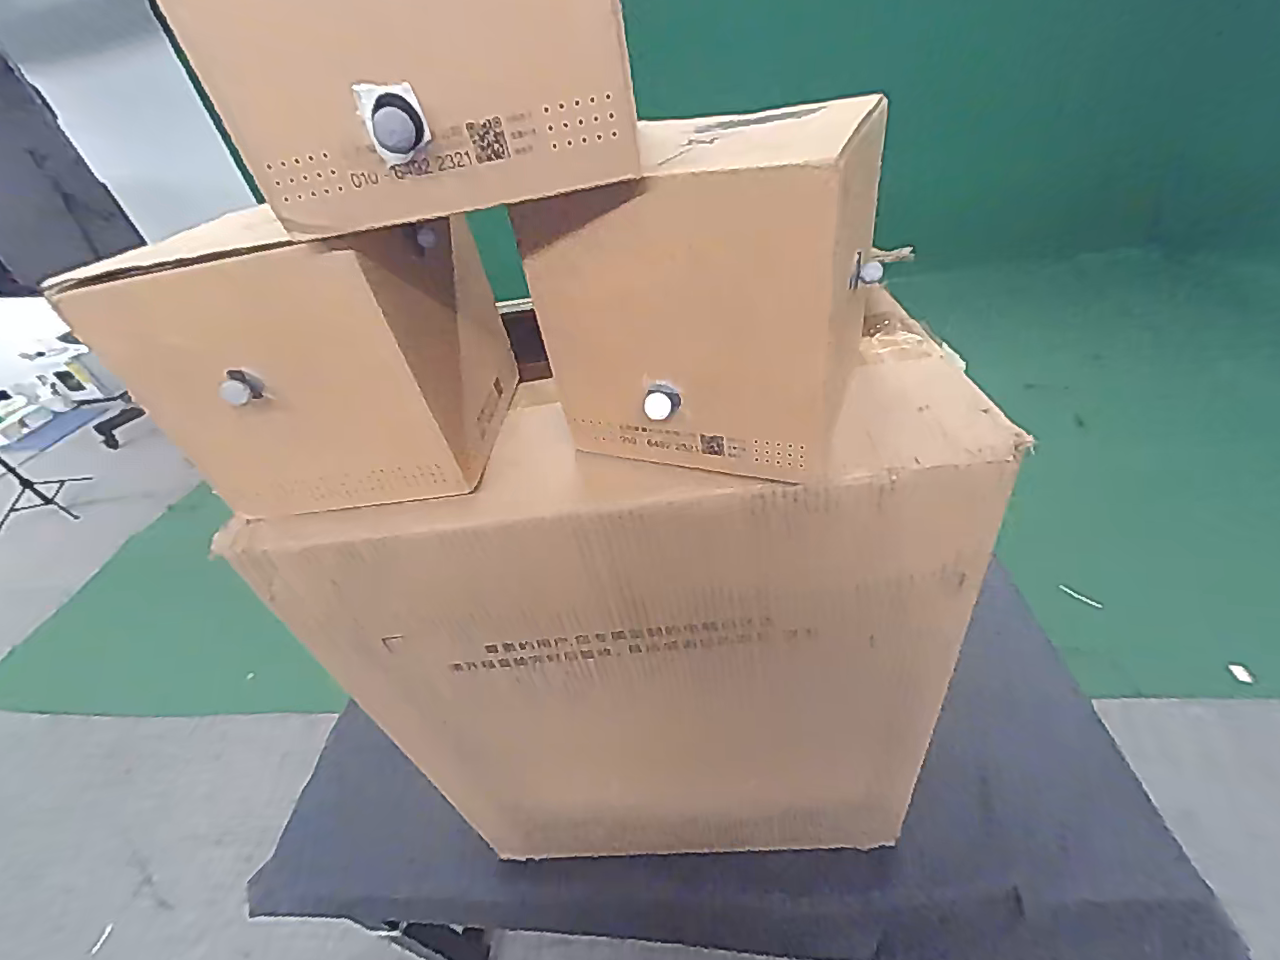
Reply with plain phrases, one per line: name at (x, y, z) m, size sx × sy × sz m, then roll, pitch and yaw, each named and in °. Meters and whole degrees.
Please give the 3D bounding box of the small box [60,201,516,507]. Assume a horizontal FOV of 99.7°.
small box at (-0.210, -0.096, 0.387) m, size 0.179 × 0.176 × 0.168 m, roll -7°, pitch 40°, yaw 8°

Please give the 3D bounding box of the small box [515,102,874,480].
small box at (0.046, -0.126, 0.355) m, size 0.168 × 0.176 × 0.179 m, roll 10°, pitch 44°, yaw 24°

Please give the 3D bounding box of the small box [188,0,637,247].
small box at (-0.097, -0.233, 0.264) m, size 0.168 × 0.176 × 0.179 m, roll -9°, pitch 40°, yaw 5°
